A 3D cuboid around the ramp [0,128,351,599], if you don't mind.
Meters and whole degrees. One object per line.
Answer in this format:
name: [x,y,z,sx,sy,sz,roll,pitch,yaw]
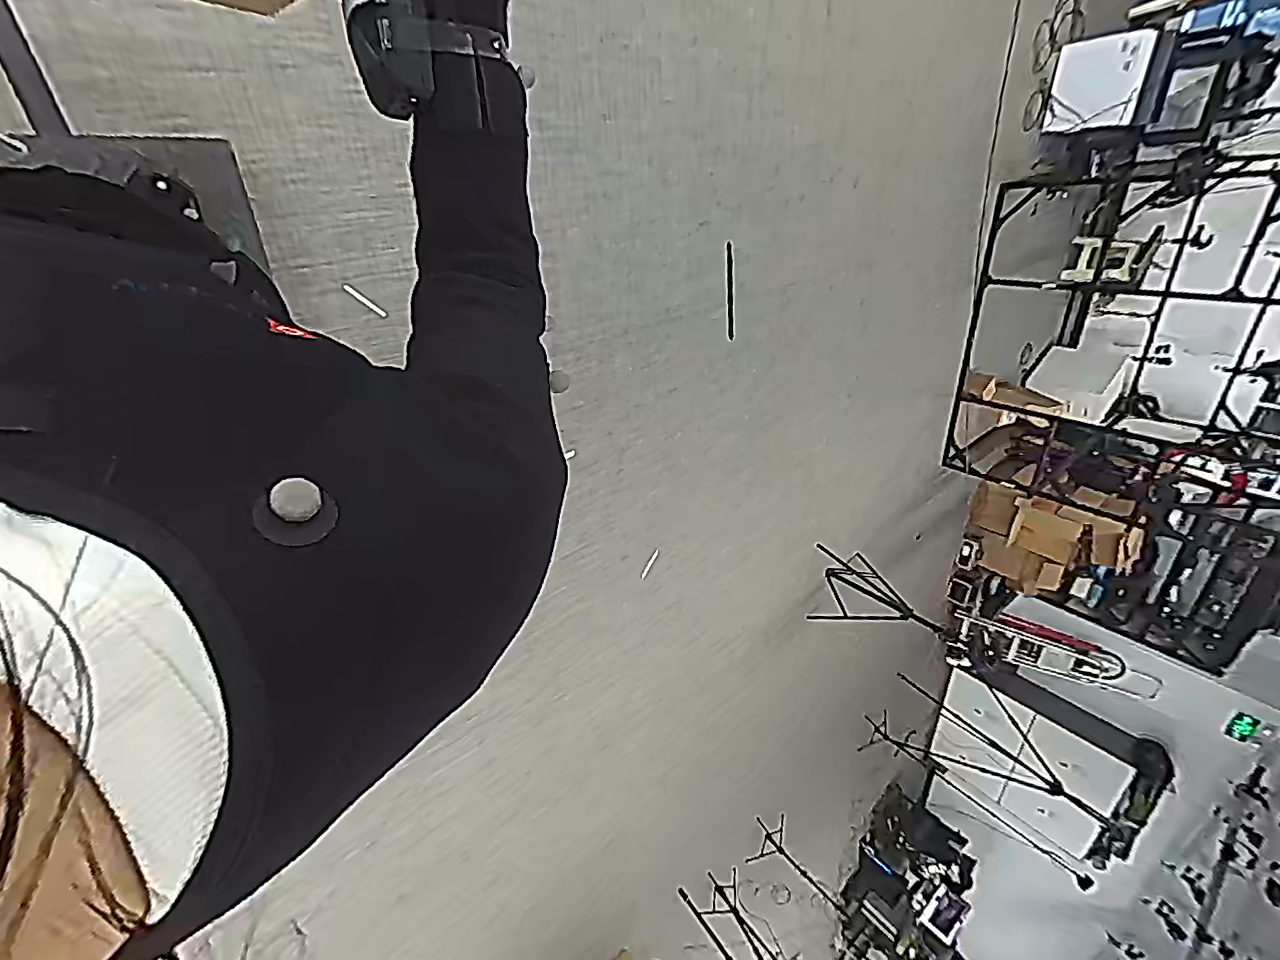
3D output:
ramp: [-1.010,-0.182,1.187,0.509,0.206,0.991,-25,125,-32]
